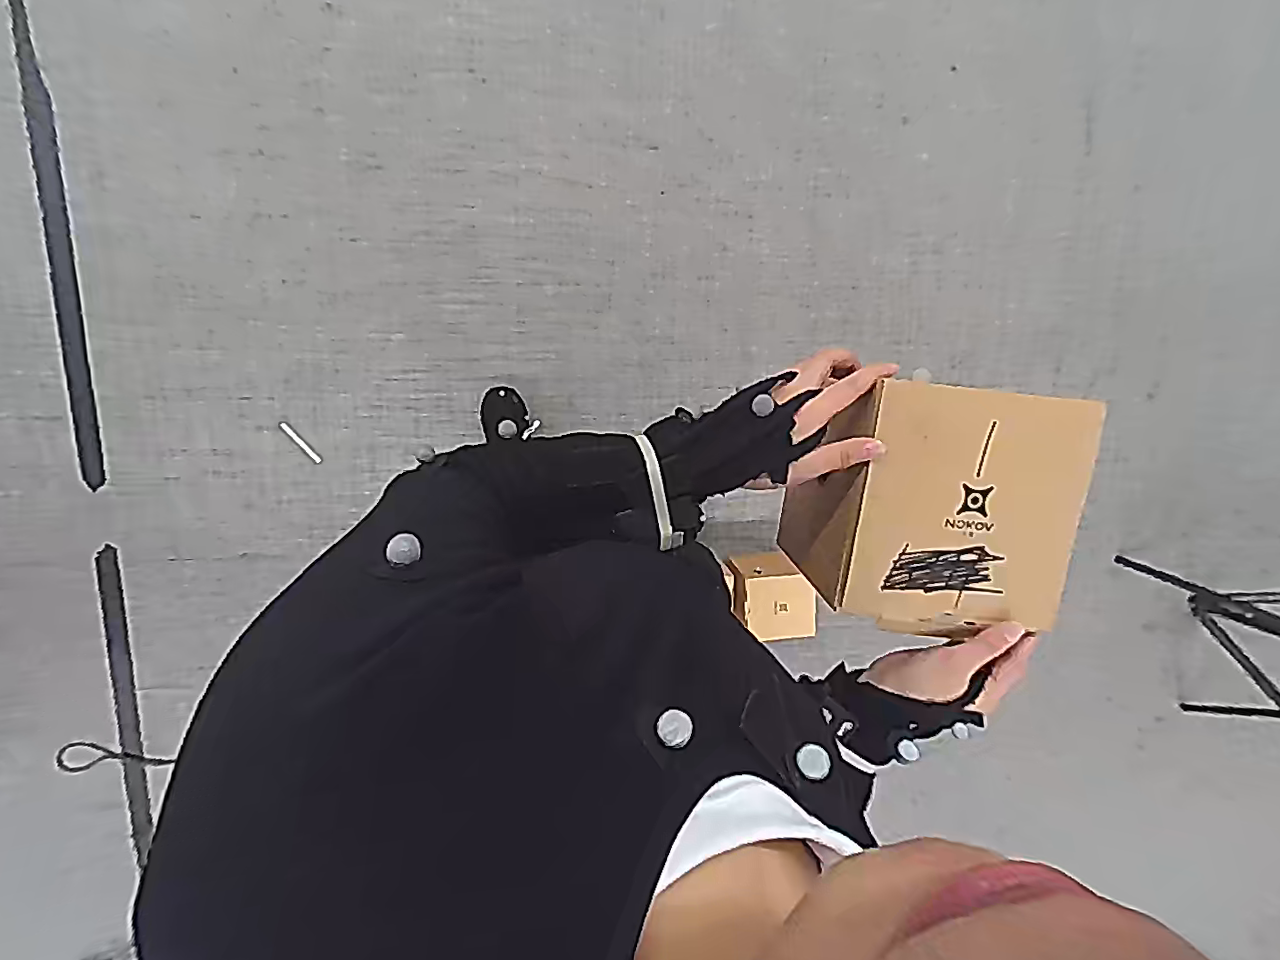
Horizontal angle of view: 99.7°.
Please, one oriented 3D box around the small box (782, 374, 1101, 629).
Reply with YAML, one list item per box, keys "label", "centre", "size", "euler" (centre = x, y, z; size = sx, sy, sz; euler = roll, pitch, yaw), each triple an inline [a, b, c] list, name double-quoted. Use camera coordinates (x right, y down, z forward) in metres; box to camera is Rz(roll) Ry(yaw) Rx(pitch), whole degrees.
- label: "small box"
  centre: [0.233, 0.005, 0.471]
  size: [0.168, 0.176, 0.179]
  euler: [6, 100, -2]
